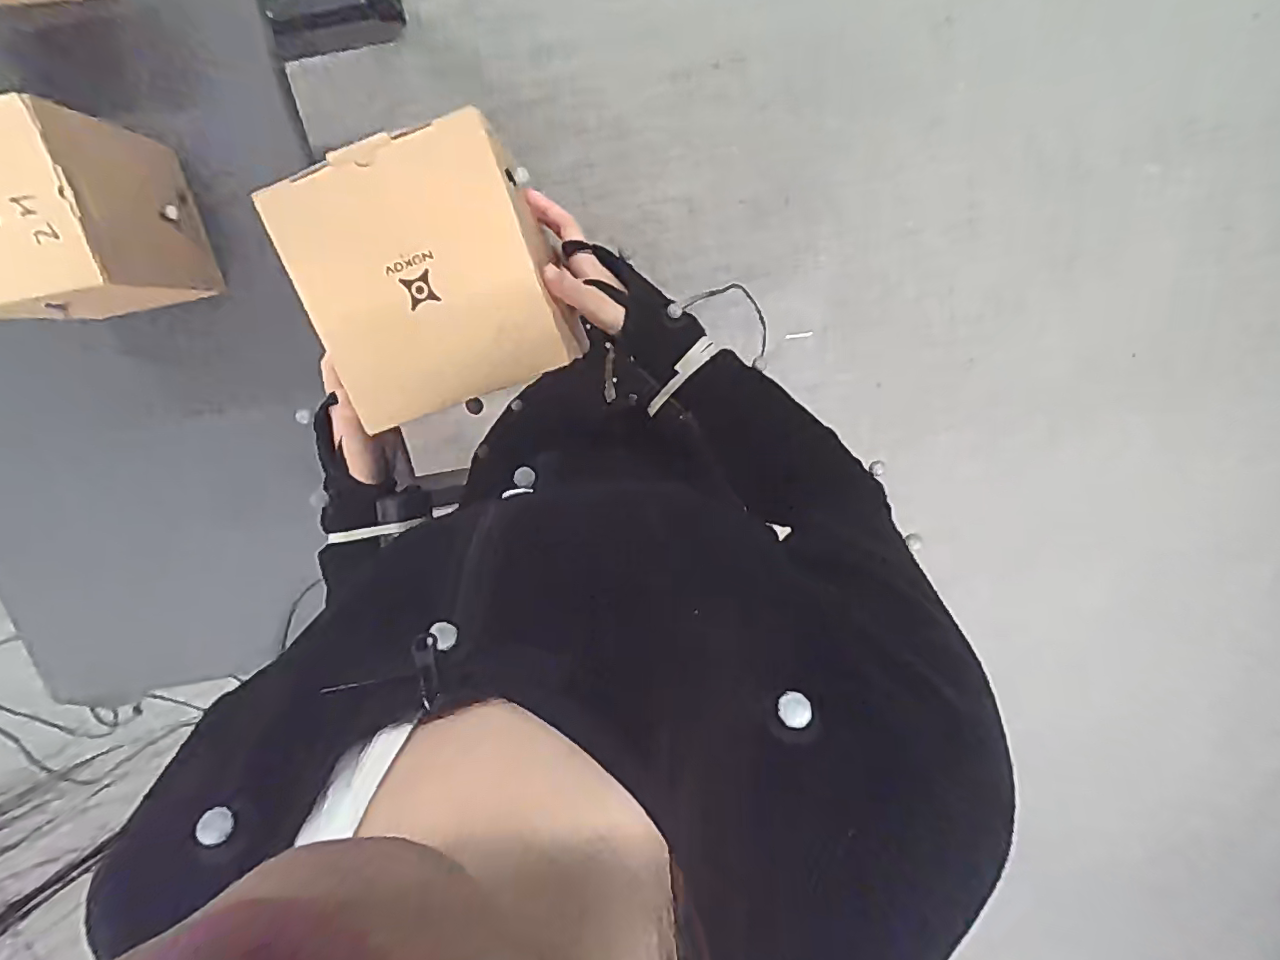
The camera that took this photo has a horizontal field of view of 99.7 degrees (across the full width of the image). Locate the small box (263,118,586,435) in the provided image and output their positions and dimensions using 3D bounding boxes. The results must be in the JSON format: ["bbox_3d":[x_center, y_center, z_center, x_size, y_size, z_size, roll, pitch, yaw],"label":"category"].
[{"bbox_3d":[-0.153,-0.158,0.459,0.168,0.176,0.179,-18,105,5],"label":"small box"}]

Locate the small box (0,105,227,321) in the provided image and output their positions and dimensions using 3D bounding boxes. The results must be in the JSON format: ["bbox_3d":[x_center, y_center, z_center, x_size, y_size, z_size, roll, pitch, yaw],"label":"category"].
[{"bbox_3d":[-0.617,-0.271,0.591,0.179,0.176,0.168,-10,107,2],"label":"small box"}]
